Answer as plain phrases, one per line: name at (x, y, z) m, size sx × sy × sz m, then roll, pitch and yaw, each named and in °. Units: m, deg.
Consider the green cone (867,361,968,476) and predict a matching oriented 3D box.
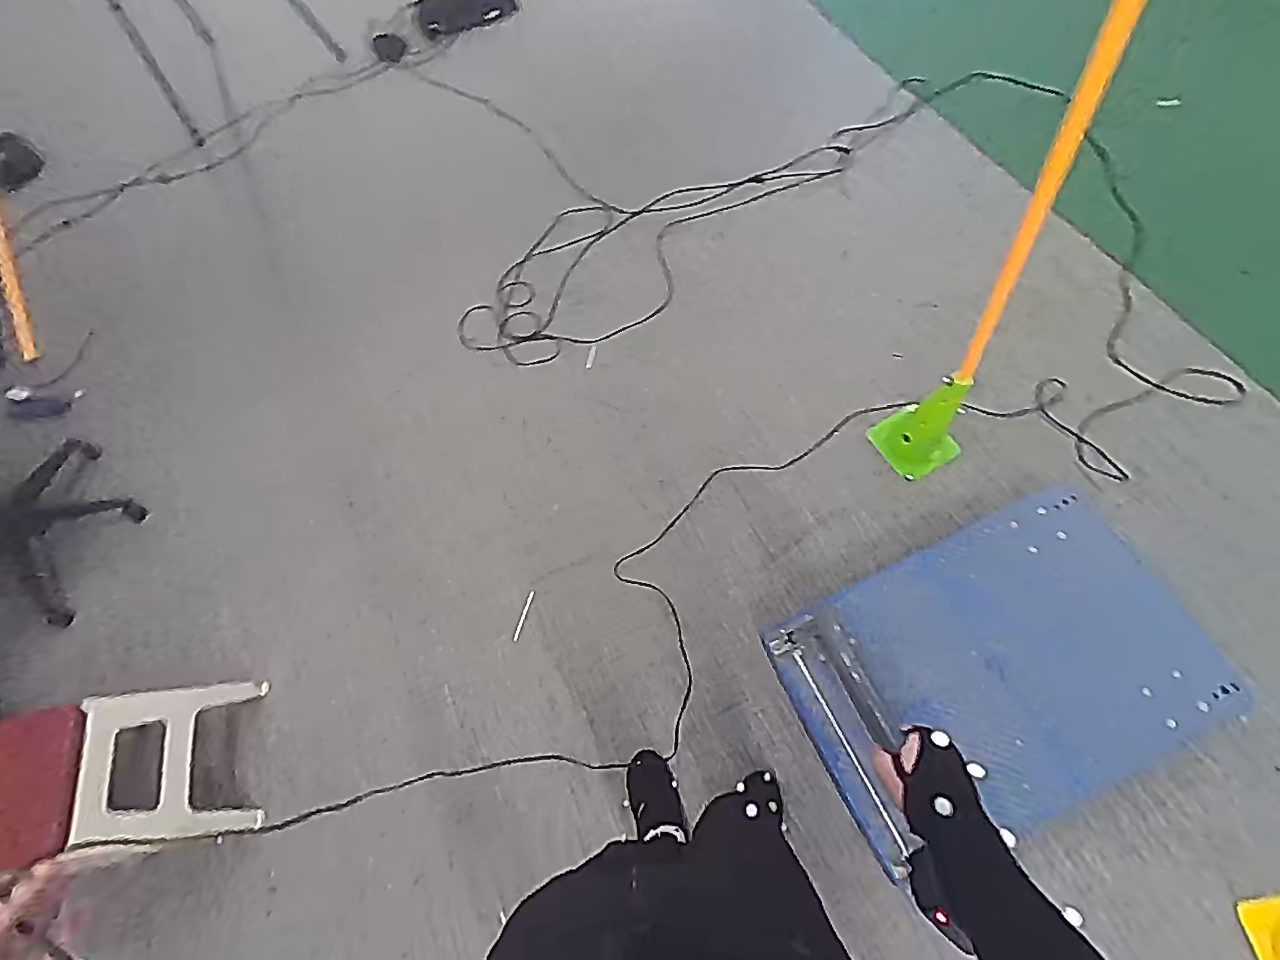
green cone at (0.785, -0.193, 1.441) m, size 0.200 × 0.368 × 0.202 m, roll -30°, pitch 66°, yaw -6°
